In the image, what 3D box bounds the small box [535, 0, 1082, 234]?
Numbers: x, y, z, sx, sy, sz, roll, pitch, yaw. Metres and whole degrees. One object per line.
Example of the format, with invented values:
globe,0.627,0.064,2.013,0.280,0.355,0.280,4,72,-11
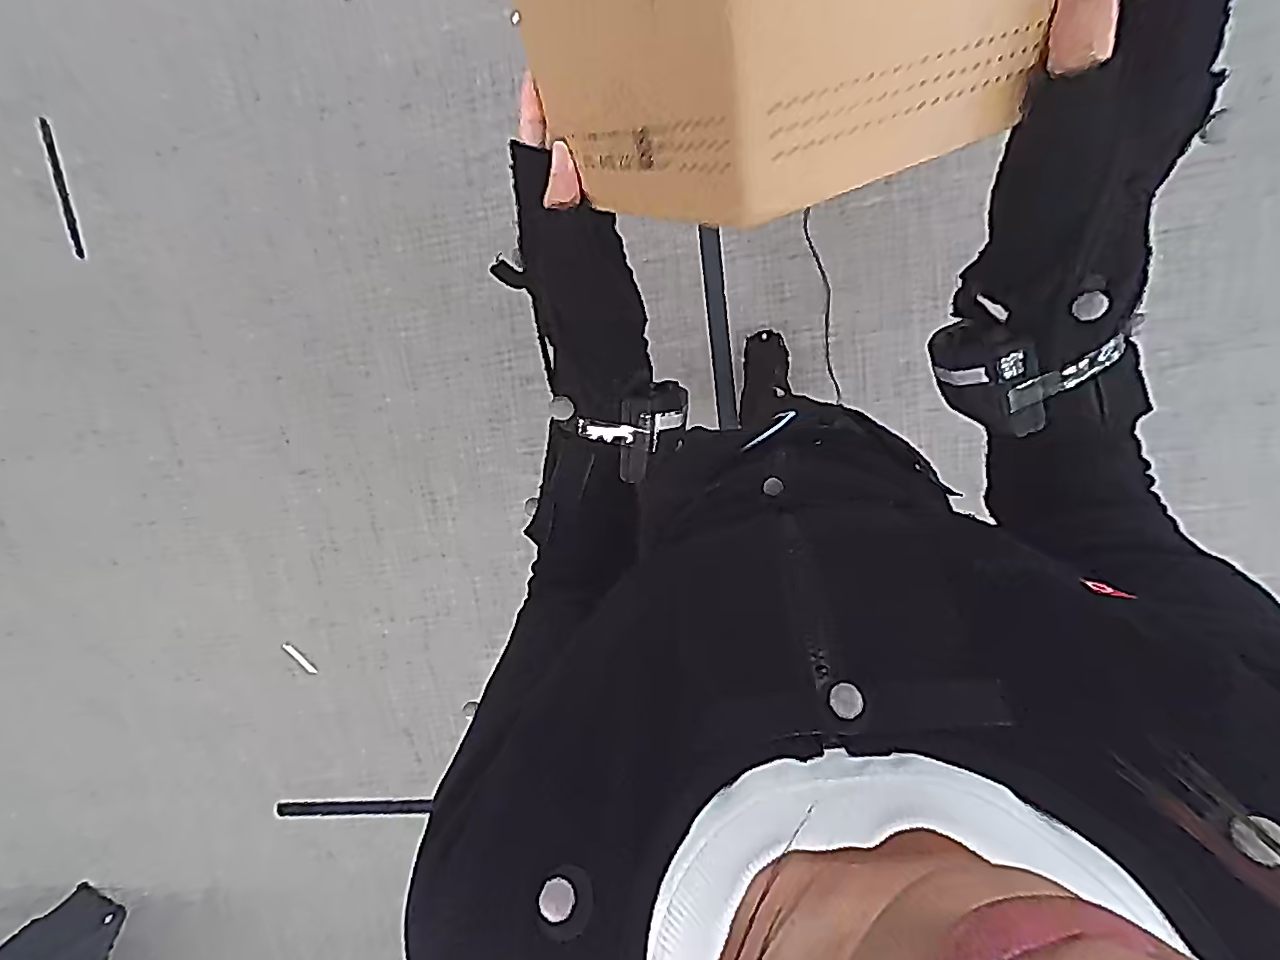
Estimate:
small box,0.057,-0.217,0.221,0.179,0.168,0.176,-25,128,-12
